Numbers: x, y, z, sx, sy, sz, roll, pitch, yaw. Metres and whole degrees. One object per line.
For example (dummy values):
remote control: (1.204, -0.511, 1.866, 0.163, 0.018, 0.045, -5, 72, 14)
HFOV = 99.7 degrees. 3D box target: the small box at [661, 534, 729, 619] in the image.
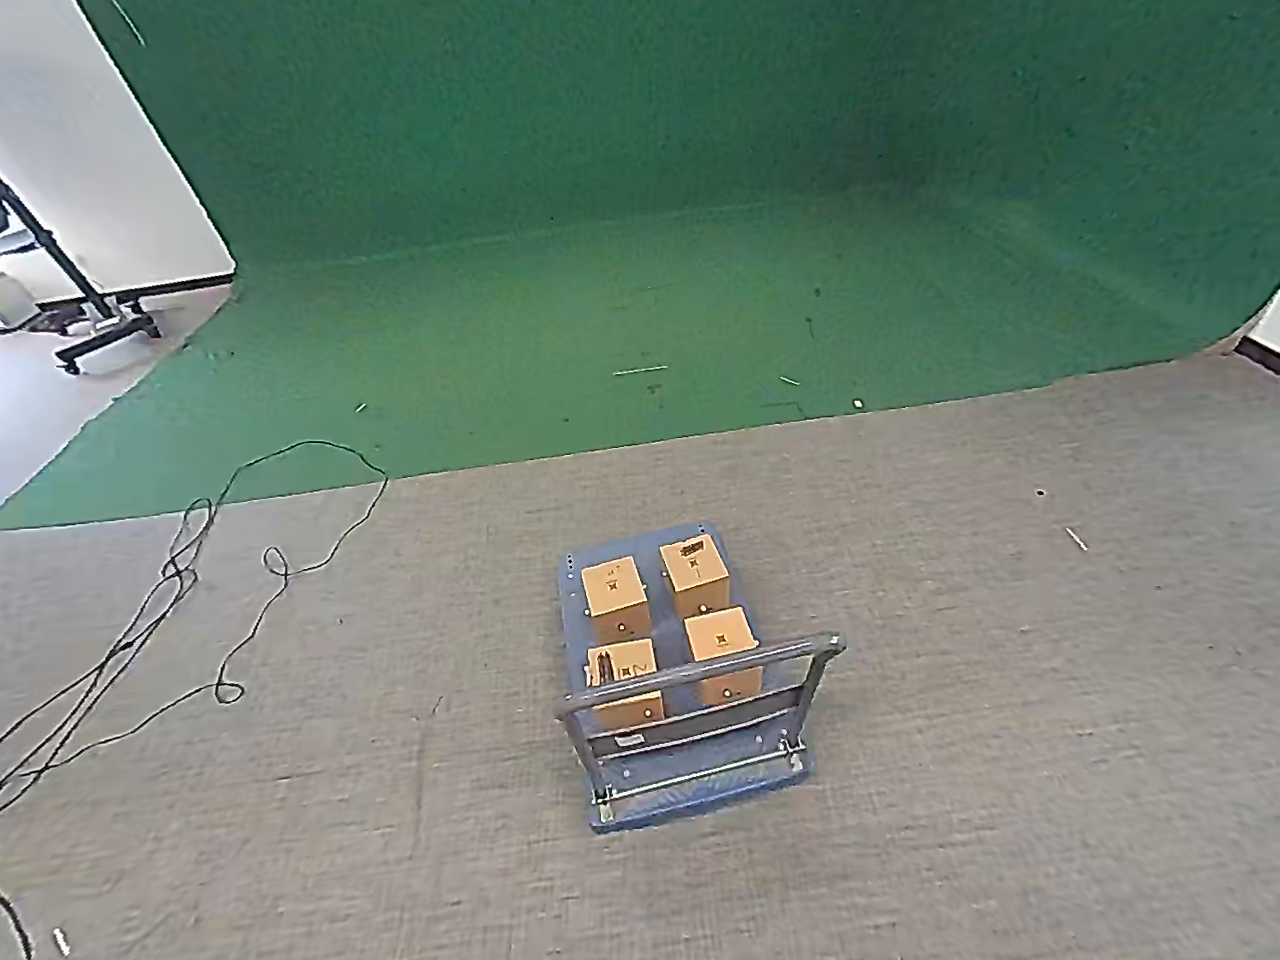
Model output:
small box: (0.171, 0.303, 1.697, 0.168, 0.176, 0.179, -15, 45, -6)

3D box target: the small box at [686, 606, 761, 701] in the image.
small box: (0.227, 0.484, 1.503, 0.168, 0.176, 0.179, -12, 44, -4)

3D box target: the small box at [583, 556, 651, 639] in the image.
small box: (-0.070, 0.370, 1.665, 0.168, 0.176, 0.179, -14, 44, -8)
